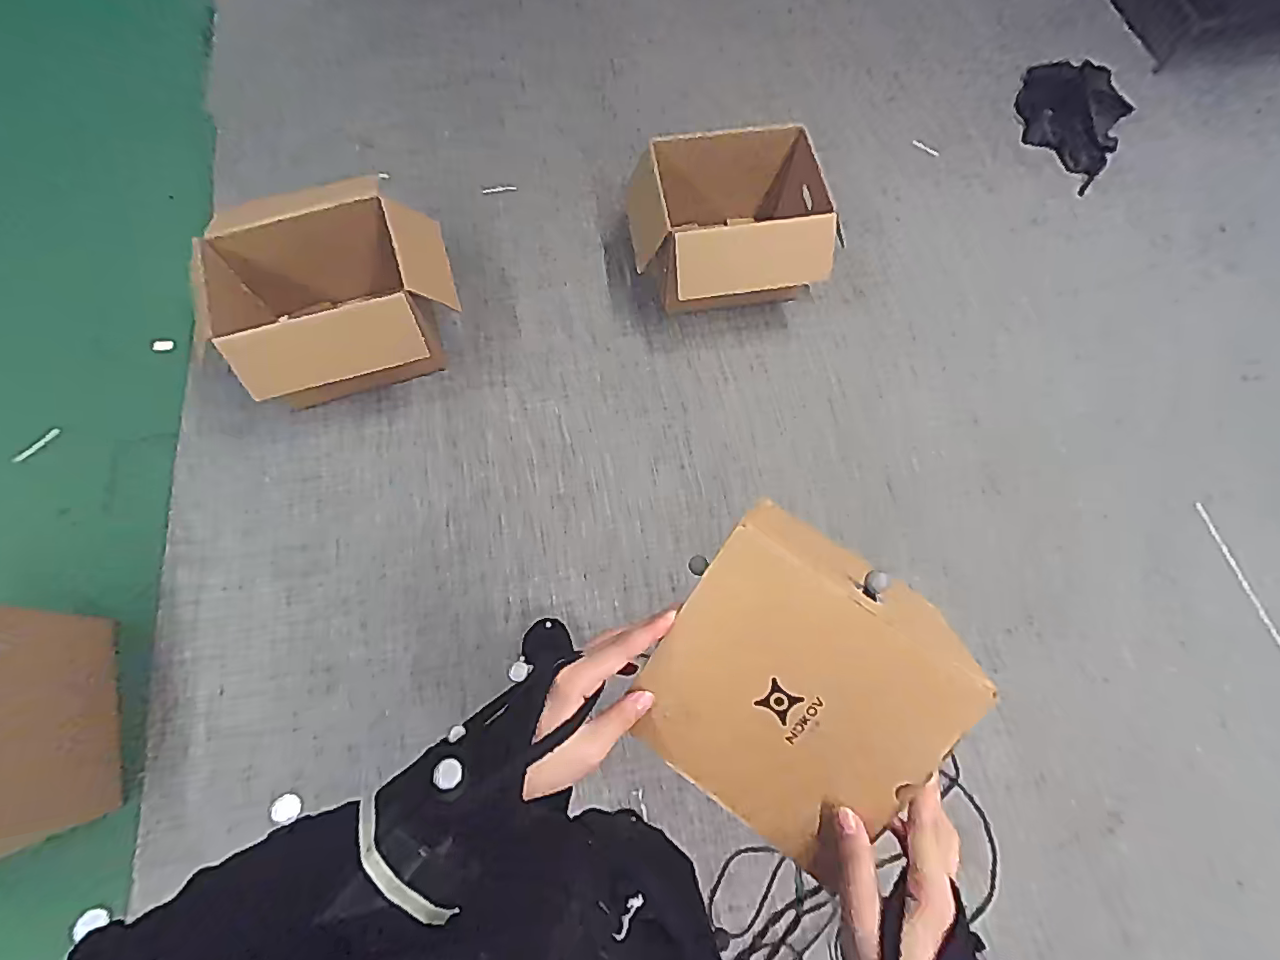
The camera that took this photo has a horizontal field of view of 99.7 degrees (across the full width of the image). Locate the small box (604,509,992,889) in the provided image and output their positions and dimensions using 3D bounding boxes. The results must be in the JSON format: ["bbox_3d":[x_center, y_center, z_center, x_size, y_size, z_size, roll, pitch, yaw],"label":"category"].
[{"bbox_3d":[0.107,0.133,0.408,0.179,0.176,0.168,34,101,12],"label":"small box"}]
